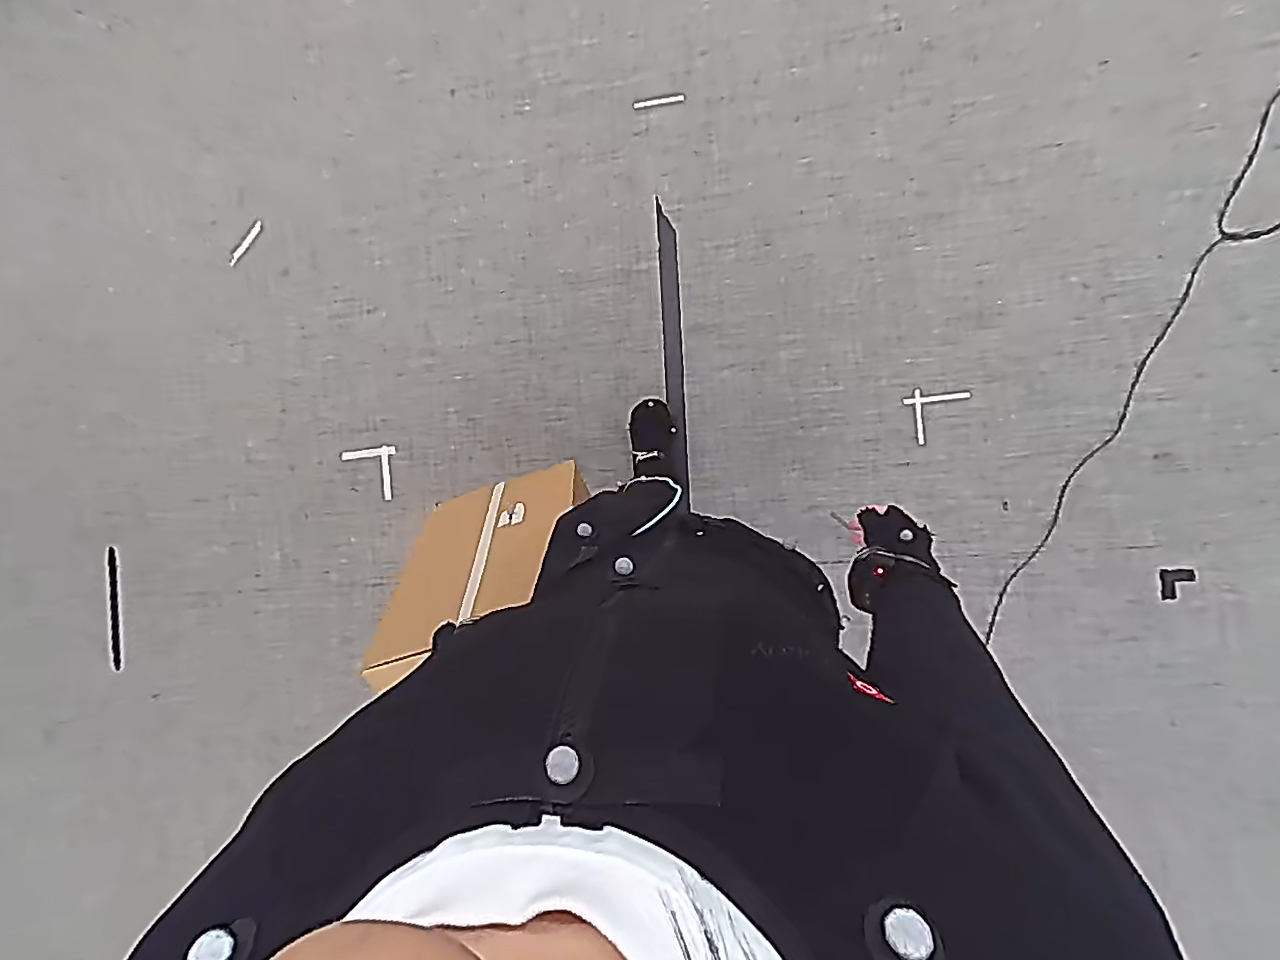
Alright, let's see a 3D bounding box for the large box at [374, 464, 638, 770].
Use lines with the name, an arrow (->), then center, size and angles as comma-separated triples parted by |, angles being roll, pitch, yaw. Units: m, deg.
large box -> -0.206, 0.234, 0.997 | 0.320, 0.408, 0.320 | -17, 121, 7
